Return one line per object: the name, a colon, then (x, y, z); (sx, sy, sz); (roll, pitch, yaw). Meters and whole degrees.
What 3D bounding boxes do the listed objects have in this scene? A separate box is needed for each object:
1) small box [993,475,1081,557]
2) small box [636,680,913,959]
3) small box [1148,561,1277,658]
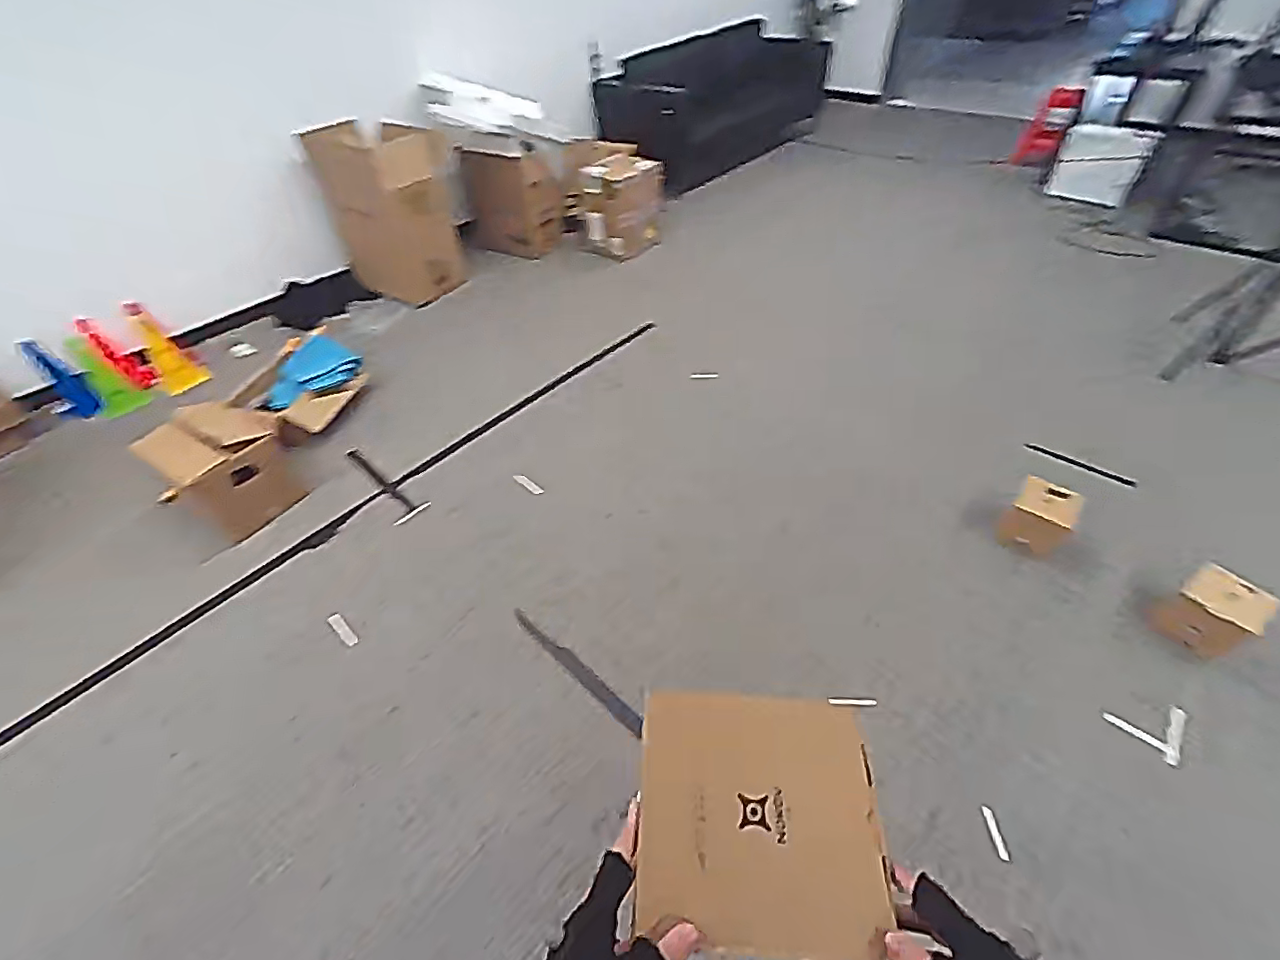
small box: (1.313, 0.121, 1.797); (0.168, 0.176, 0.179); (30, 56, 29)
small box: (0.090, 0.284, 0.451); (0.179, 0.176, 0.168); (3, 49, 2)
small box: (1.607, 0.370, 1.531); (0.179, 0.176, 0.168); (-28, 51, -20)
